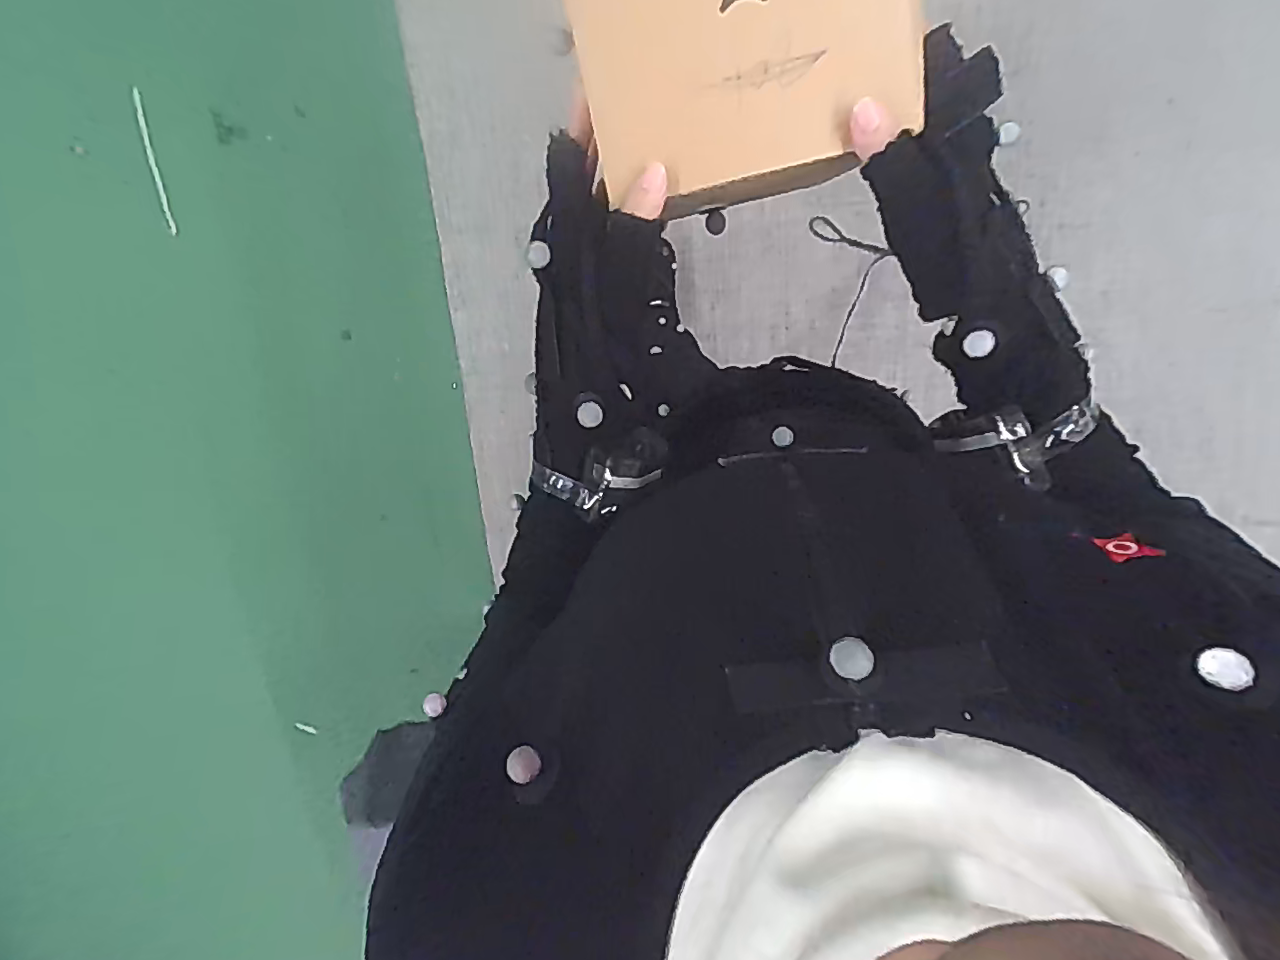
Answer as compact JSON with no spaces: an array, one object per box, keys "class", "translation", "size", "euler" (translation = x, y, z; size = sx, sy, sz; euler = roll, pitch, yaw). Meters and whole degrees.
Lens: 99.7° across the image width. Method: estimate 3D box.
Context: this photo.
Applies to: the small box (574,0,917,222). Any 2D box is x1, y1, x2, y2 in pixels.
[{"class":"small box","translation":[0.047,-0.273,0.330],"size":[0.168,0.176,0.179],"euler":[-10,111,4]}]
